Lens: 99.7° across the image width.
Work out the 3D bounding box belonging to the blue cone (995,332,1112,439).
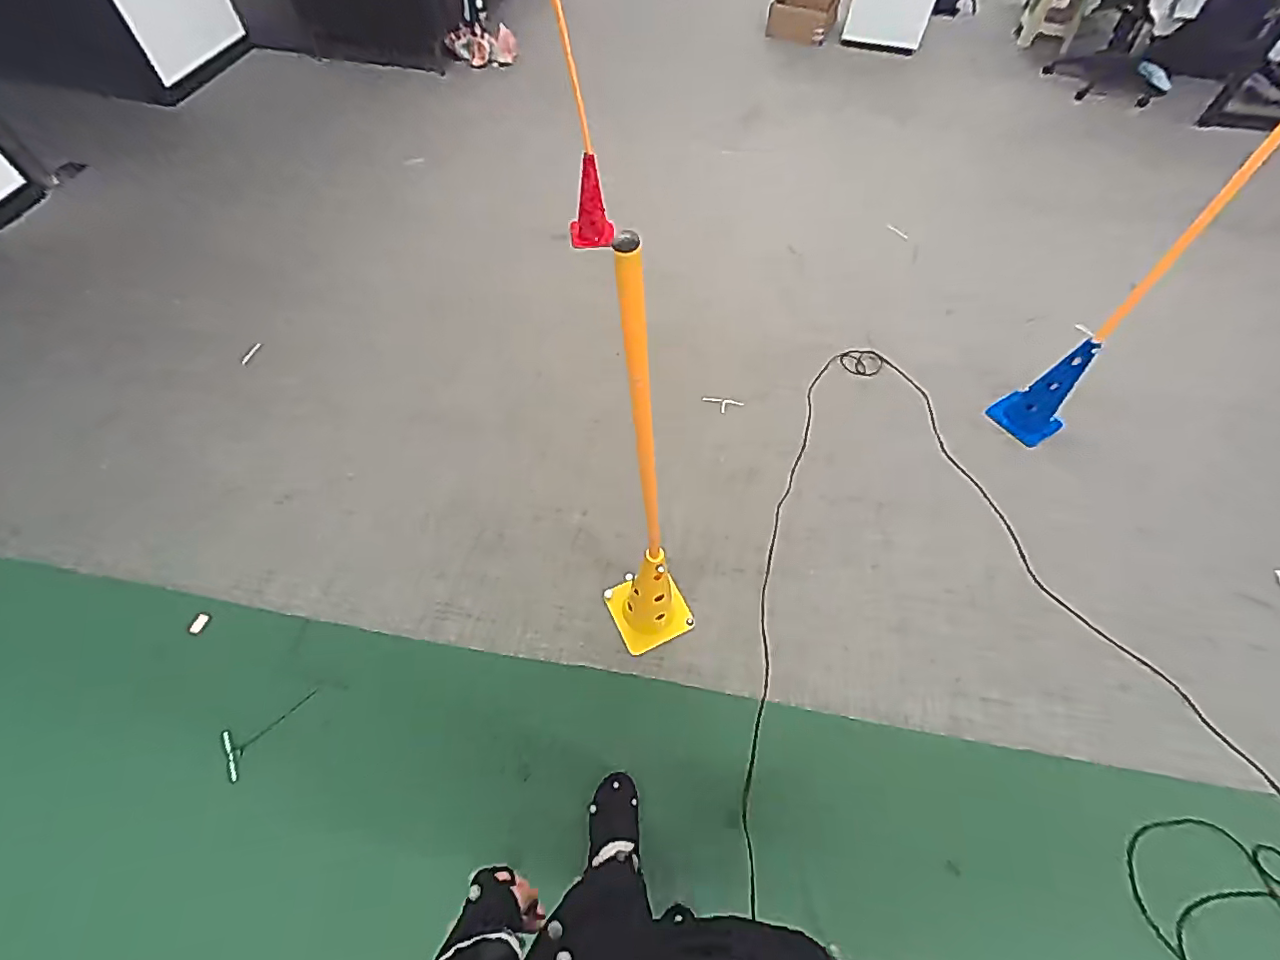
[{"bbox_3d":[1.380,-0.333,1.775,0.193,0.380,0.192,-29,62,-21],"label":"blue cone"}]
